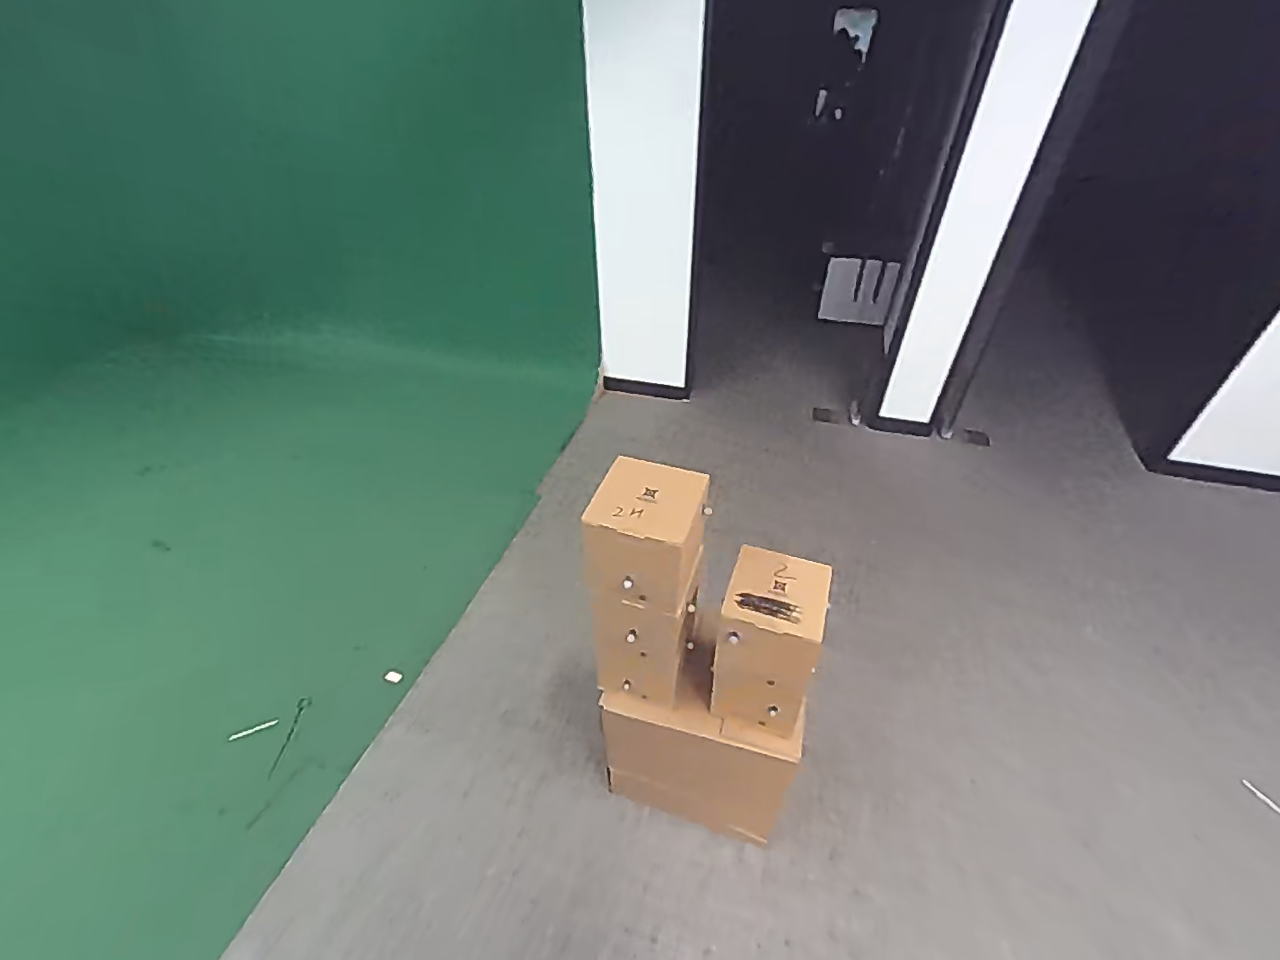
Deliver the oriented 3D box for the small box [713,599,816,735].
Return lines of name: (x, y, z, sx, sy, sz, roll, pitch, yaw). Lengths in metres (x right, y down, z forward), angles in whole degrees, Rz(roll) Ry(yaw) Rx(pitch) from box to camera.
small box: (0.246, 0.375, 1.084, 0.168, 0.176, 0.179, 12, 41, 16)

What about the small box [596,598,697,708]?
small box: (0.016, 0.340, 1.132, 0.168, 0.176, 0.179, 12, 42, 13)

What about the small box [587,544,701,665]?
small box: (0.013, 0.219, 1.022, 0.168, 0.176, 0.179, 13, 43, 14)

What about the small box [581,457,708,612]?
small box: (0.011, 0.090, 0.917, 0.168, 0.176, 0.179, 12, 42, 14)
